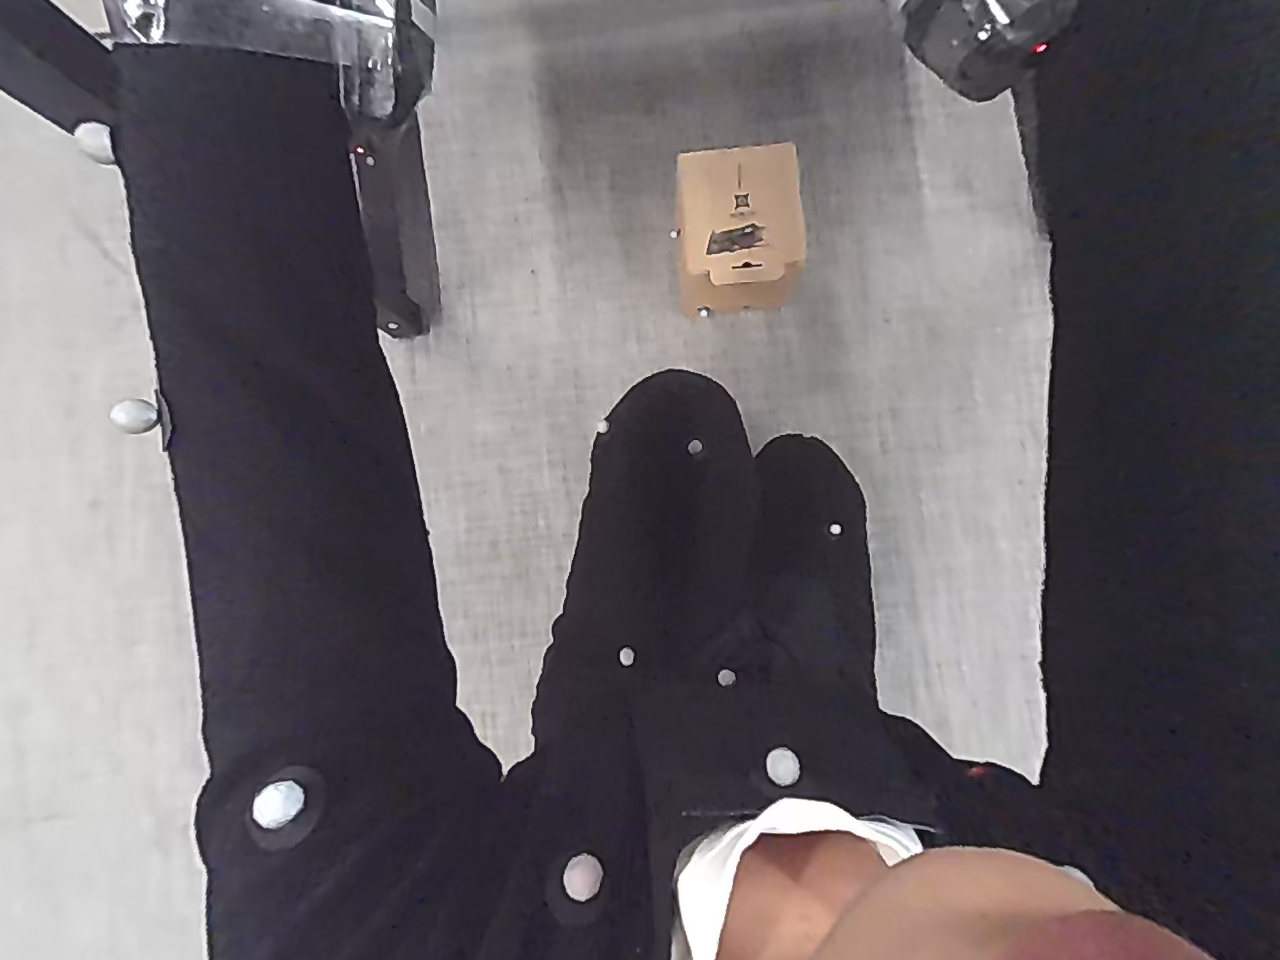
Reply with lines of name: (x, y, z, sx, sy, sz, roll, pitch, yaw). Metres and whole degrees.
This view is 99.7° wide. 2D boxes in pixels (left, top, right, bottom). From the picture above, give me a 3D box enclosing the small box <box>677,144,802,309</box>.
small box: (0.144, -0.374, 0.833, 0.168, 0.176, 0.179, -4, 86, 2)
